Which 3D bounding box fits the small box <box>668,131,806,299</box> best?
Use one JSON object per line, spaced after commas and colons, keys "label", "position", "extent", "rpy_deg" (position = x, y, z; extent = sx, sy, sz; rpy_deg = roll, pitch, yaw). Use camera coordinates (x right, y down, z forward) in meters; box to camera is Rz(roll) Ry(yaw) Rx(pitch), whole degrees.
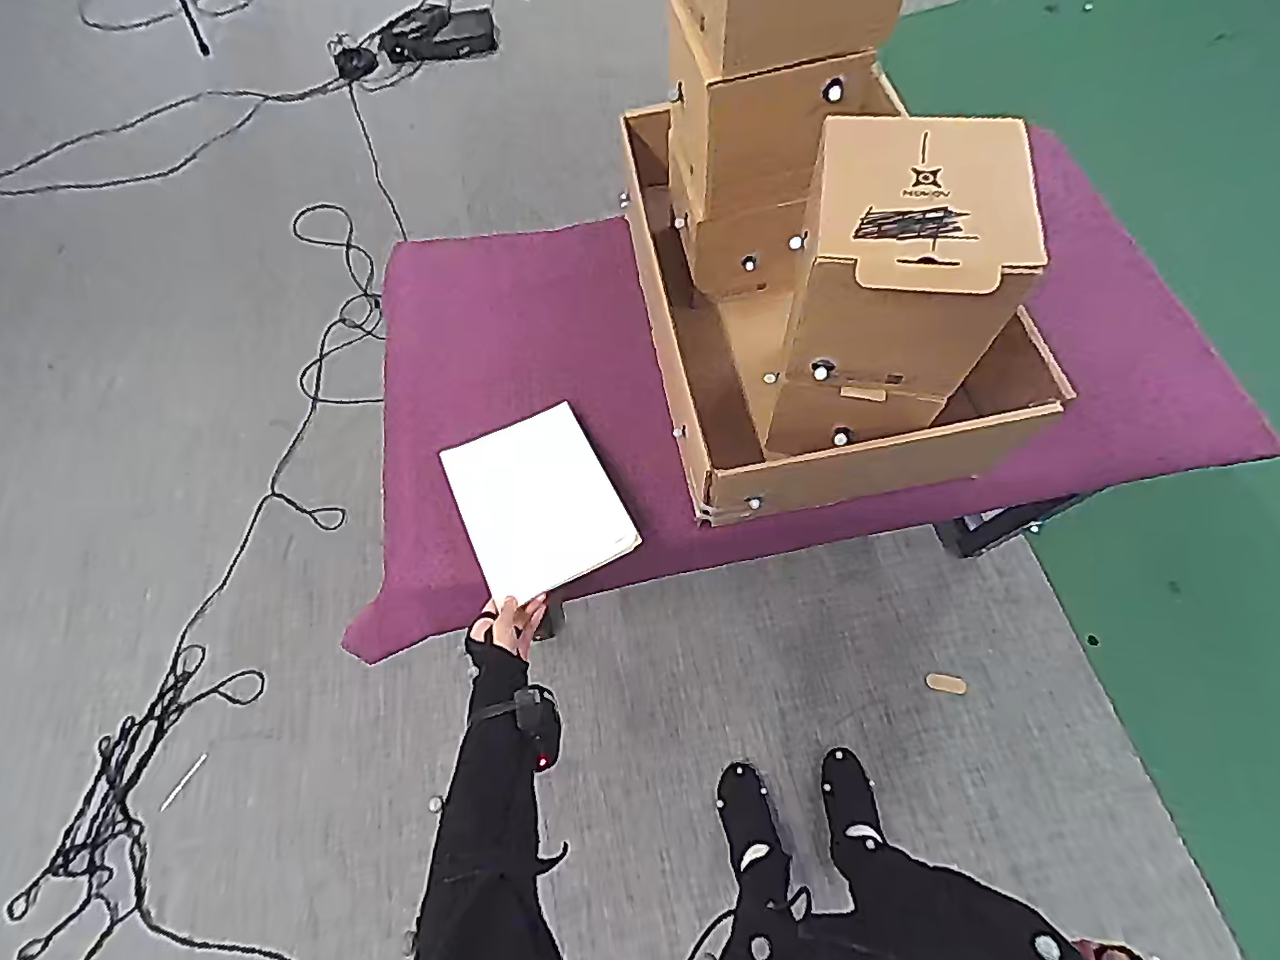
{"label": "small box", "position": [0.139, -0.383, 0.780], "extent": [0.168, 0.176, 0.179], "rpy_deg": [-11, 68, 0]}

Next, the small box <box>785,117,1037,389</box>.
{"label": "small box", "position": [0.236, -0.206, 0.513], "extent": [0.168, 0.176, 0.179], "rpy_deg": [7, 66, 10]}

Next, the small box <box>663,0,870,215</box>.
{"label": "small box", "position": [0.132, -0.442, 0.630], "extent": [0.179, 0.176, 0.168], "rpy_deg": [-13, 68, -1]}
